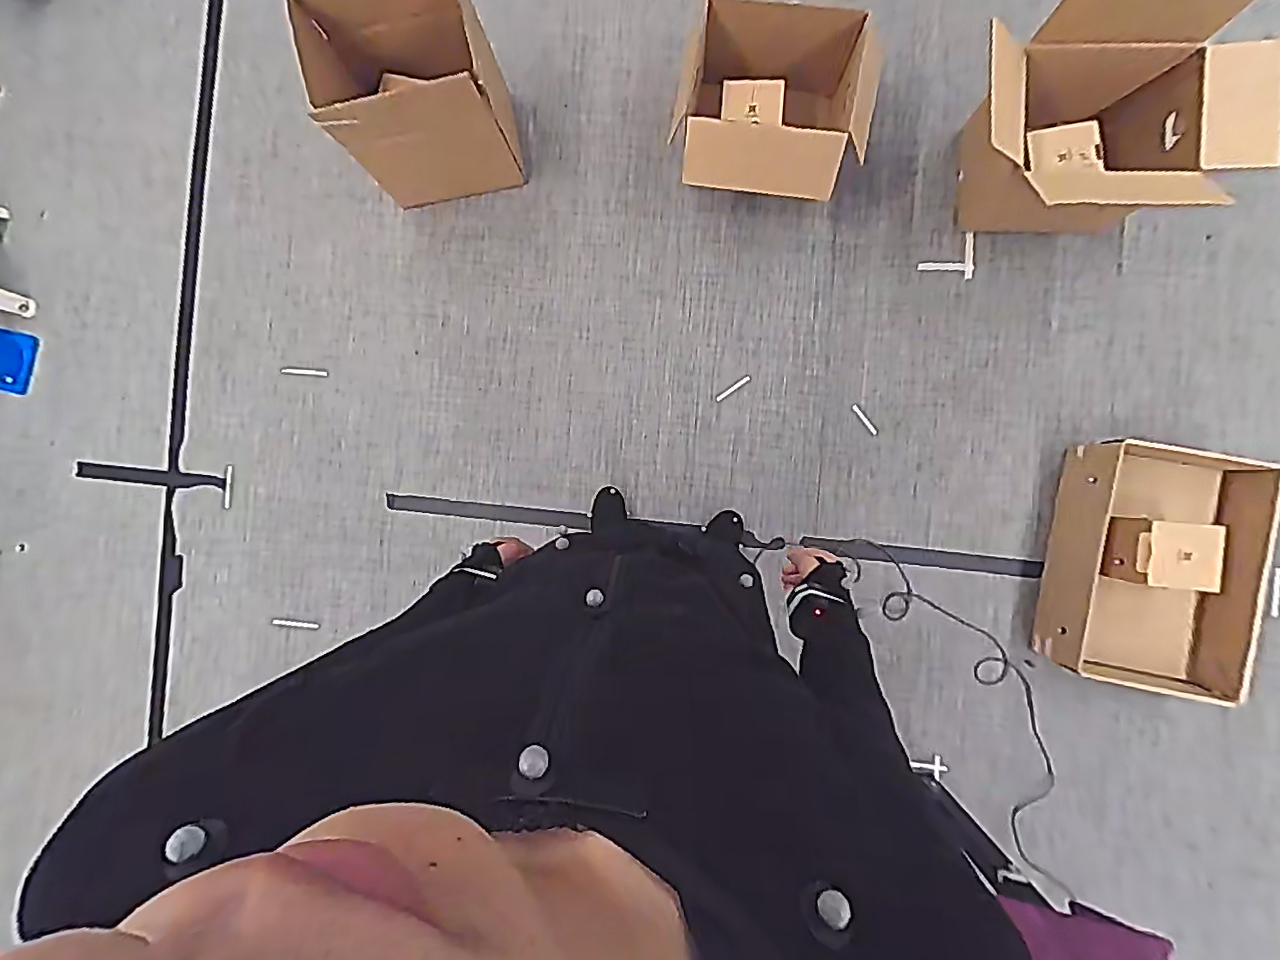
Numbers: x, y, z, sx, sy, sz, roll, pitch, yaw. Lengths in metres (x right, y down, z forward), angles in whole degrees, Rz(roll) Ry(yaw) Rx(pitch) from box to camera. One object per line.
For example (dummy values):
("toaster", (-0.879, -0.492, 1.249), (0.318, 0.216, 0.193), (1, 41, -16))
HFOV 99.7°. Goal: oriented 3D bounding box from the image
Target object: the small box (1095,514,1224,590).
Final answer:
("small box", (1.344, 0.182, 1.412), (0.179, 0.176, 0.168), (5, 91, 4))
